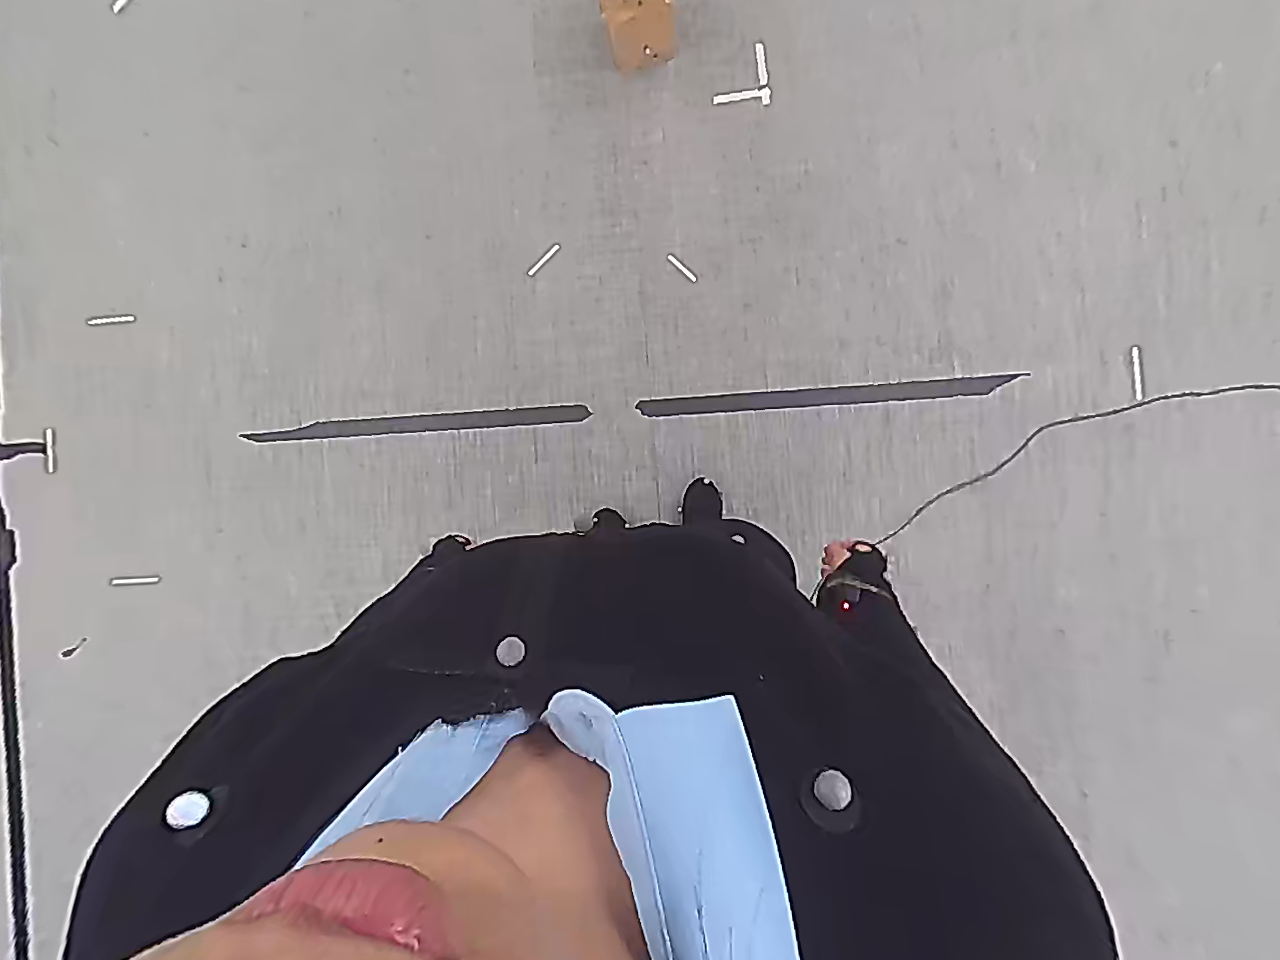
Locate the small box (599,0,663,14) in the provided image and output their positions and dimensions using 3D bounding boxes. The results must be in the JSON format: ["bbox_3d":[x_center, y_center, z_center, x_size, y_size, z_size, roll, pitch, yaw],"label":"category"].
[{"bbox_3d":[-0.031,-1.276,1.292,0.168,0.176,0.179,-4,89,4],"label":"small box"}]

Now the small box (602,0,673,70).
[{"bbox_3d":[-0.011,-1.267,1.454,0.168,0.176,0.179,-16,88,5],"label":"small box"}]
